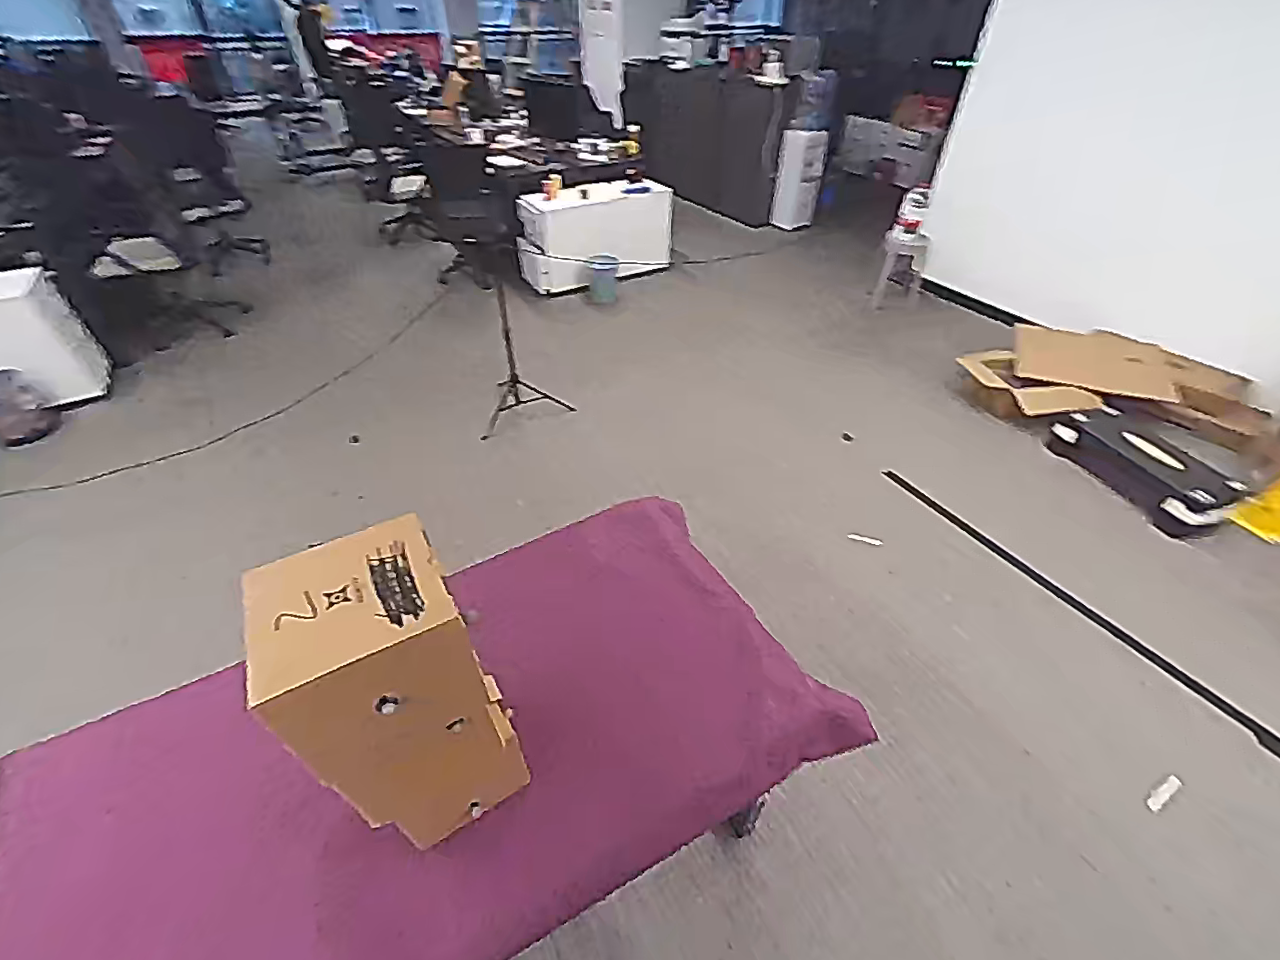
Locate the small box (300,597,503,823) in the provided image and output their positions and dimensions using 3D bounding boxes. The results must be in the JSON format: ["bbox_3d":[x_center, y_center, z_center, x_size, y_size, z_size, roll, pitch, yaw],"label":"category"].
[{"bbox_3d":[-0.296,0.291,0.689,0.179,0.176,0.168,-23,46,-24],"label":"small box"}]

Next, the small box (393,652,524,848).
[{"bbox_3d":[-0.285,0.401,0.811,0.179,0.176,0.168,-23,45,-25],"label":"small box"}]
